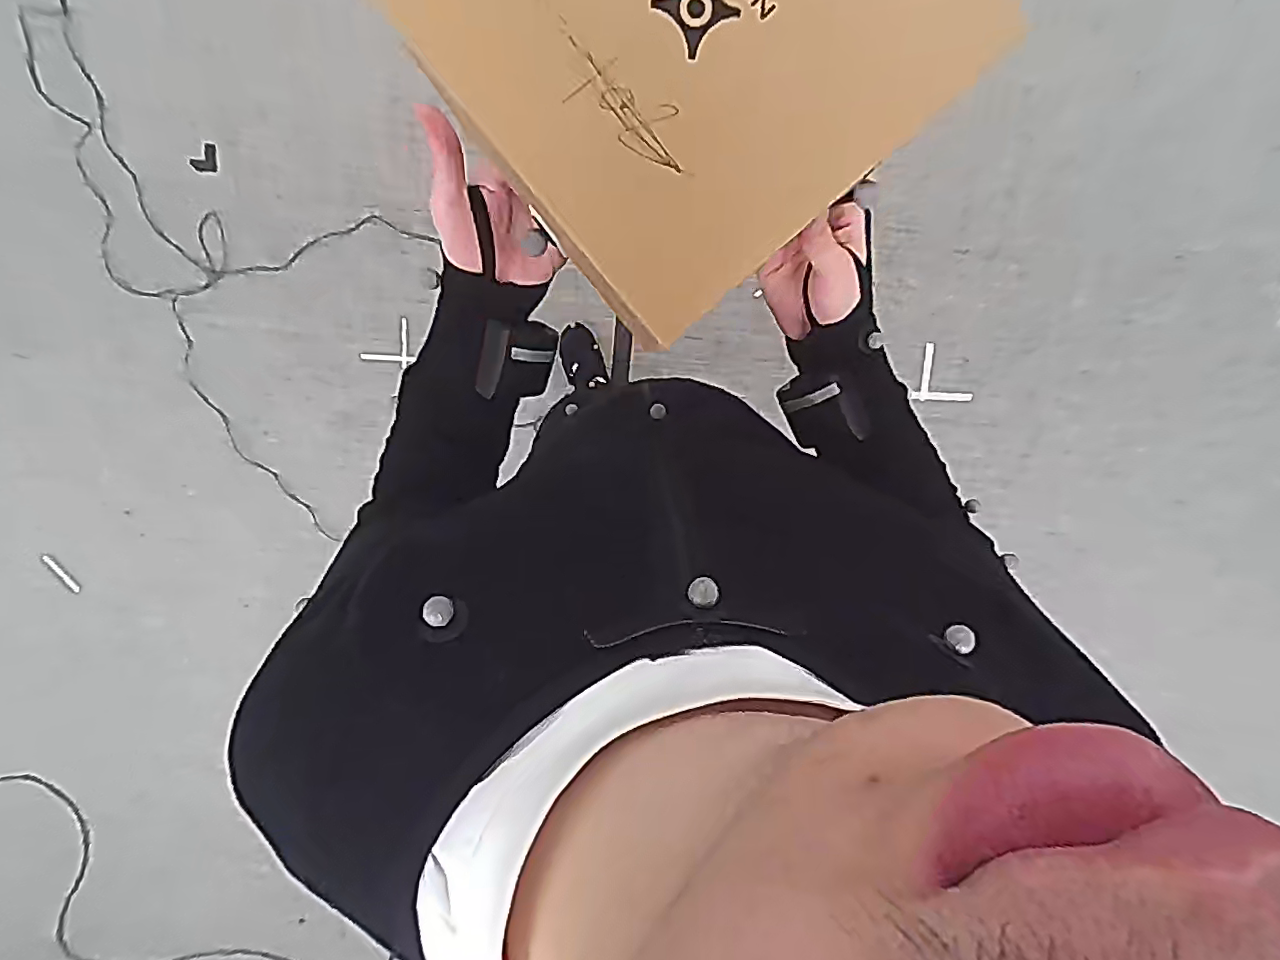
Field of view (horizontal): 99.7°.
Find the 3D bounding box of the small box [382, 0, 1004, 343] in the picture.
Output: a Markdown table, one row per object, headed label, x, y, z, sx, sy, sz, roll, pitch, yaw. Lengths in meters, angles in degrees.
| label | x | y | z | sx | sy | sz | roll | pitch | yaw |
| --- | --- | --- | --- | --- | --- | --- | --- | --- | --- |
| small box | 0.019 | -0.190 | 0.276 | 0.179 | 0.176 | 0.168 | -41 | 100 | 9 |
